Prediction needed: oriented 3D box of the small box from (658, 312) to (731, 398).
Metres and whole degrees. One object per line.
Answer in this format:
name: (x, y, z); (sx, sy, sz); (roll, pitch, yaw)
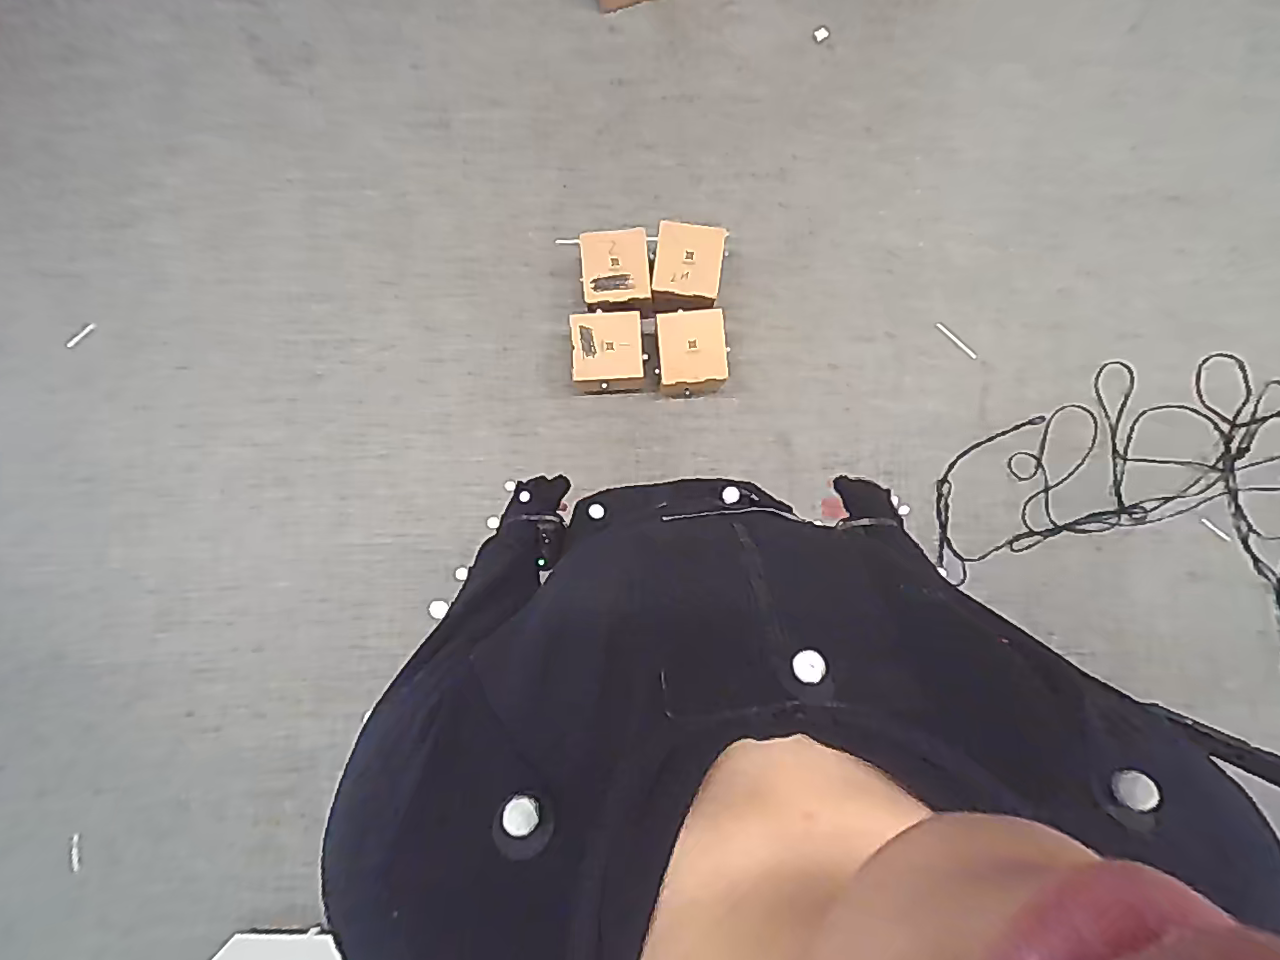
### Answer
small box: (0.135, -0.319, 1.403); (0.168, 0.176, 0.179); (-5, 90, 1)
